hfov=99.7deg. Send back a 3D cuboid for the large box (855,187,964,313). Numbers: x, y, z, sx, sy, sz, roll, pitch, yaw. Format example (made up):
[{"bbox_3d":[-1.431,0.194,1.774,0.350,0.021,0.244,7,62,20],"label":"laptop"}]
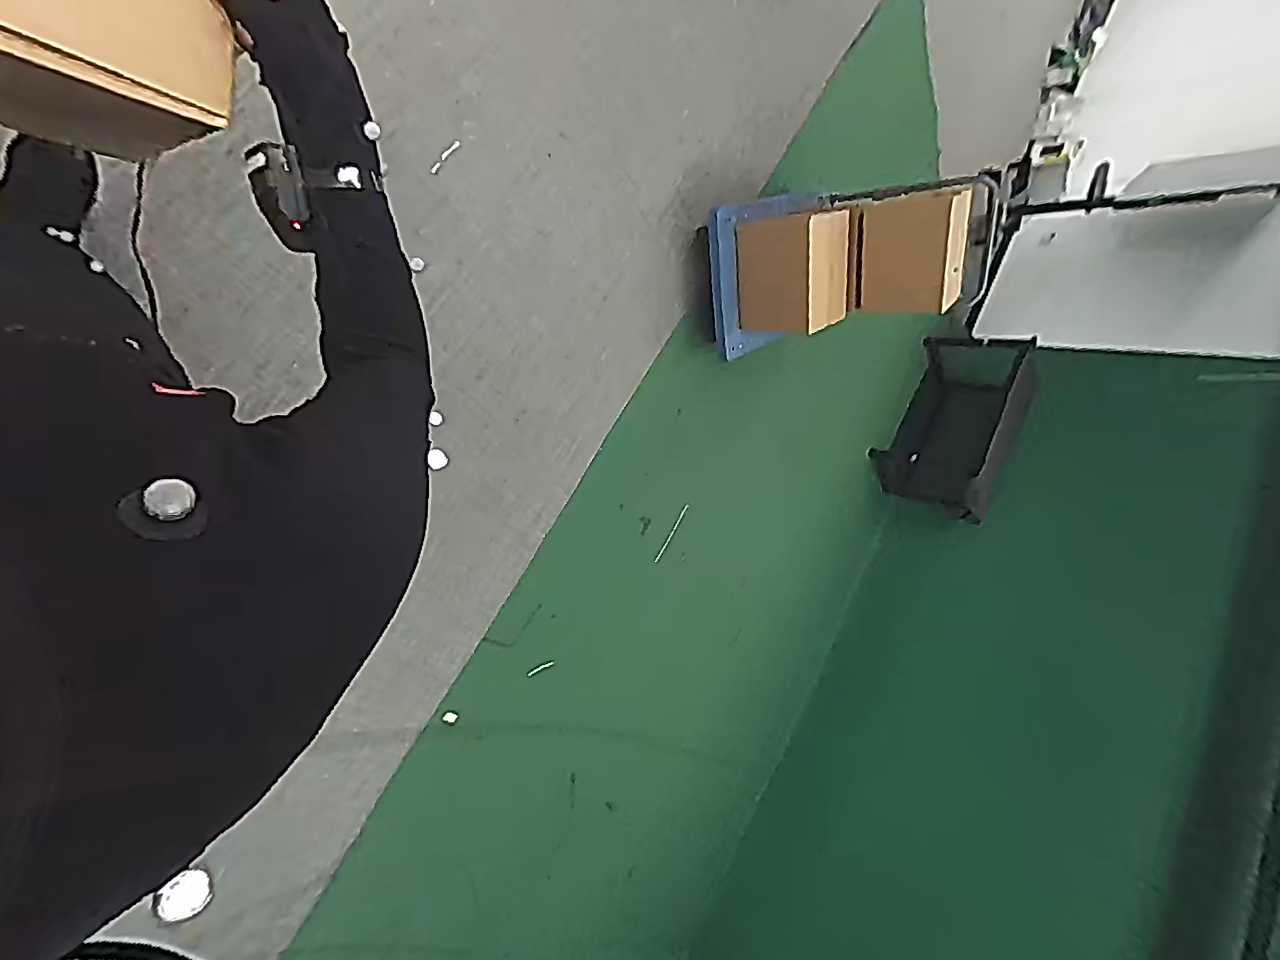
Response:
[{"bbox_3d":[1.066,-0.910,2.155,0.320,0.320,0.408,-37,129,-40],"label":"large box"}]
